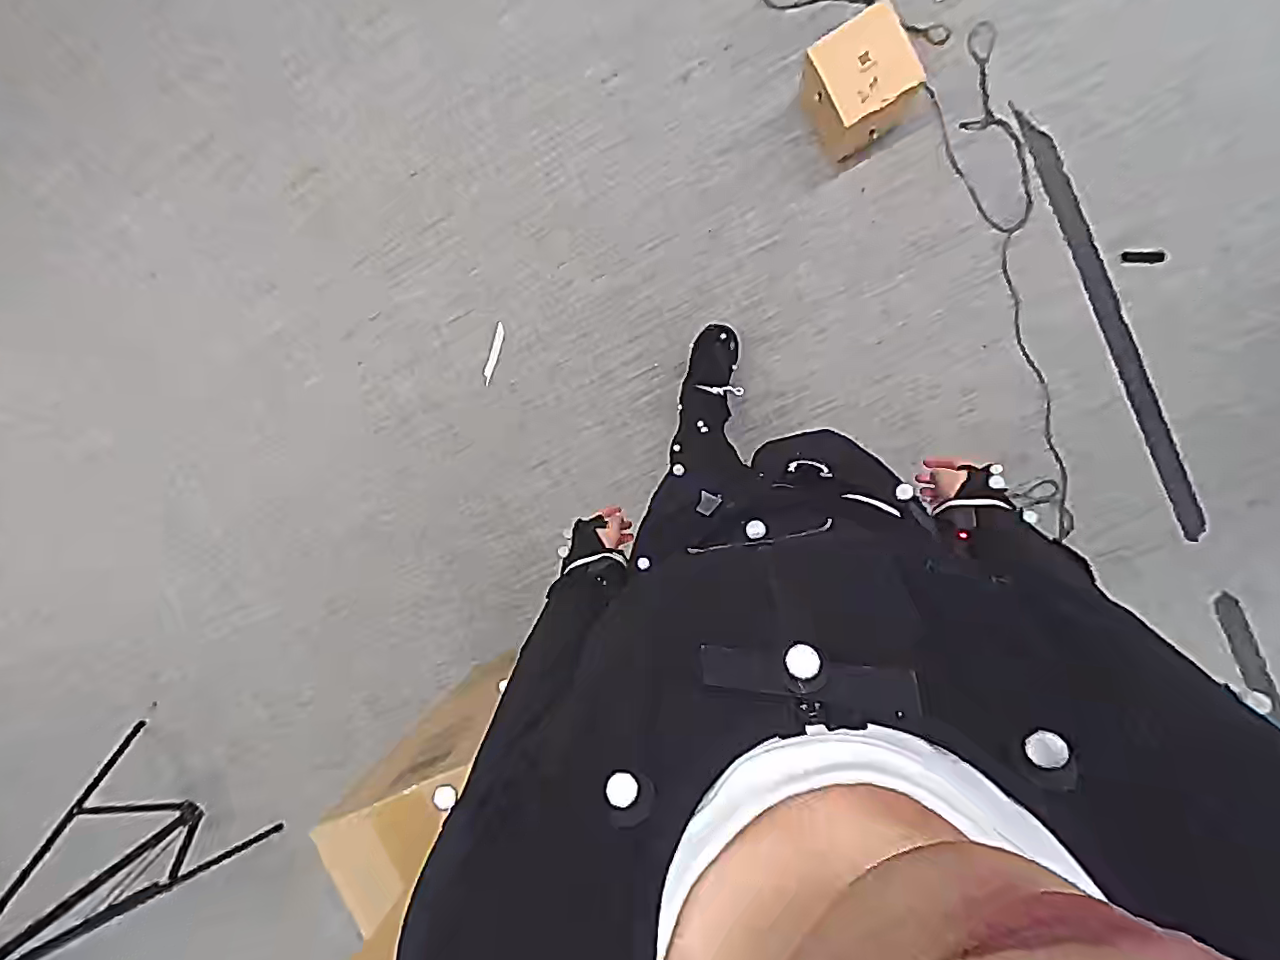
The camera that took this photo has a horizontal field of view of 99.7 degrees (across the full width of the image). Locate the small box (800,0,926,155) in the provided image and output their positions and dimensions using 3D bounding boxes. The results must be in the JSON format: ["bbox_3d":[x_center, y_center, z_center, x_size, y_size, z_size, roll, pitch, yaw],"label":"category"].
[{"bbox_3d":[0.445,-0.819,1.111,0.168,0.176,0.179,-27,93,13],"label":"small box"}]
